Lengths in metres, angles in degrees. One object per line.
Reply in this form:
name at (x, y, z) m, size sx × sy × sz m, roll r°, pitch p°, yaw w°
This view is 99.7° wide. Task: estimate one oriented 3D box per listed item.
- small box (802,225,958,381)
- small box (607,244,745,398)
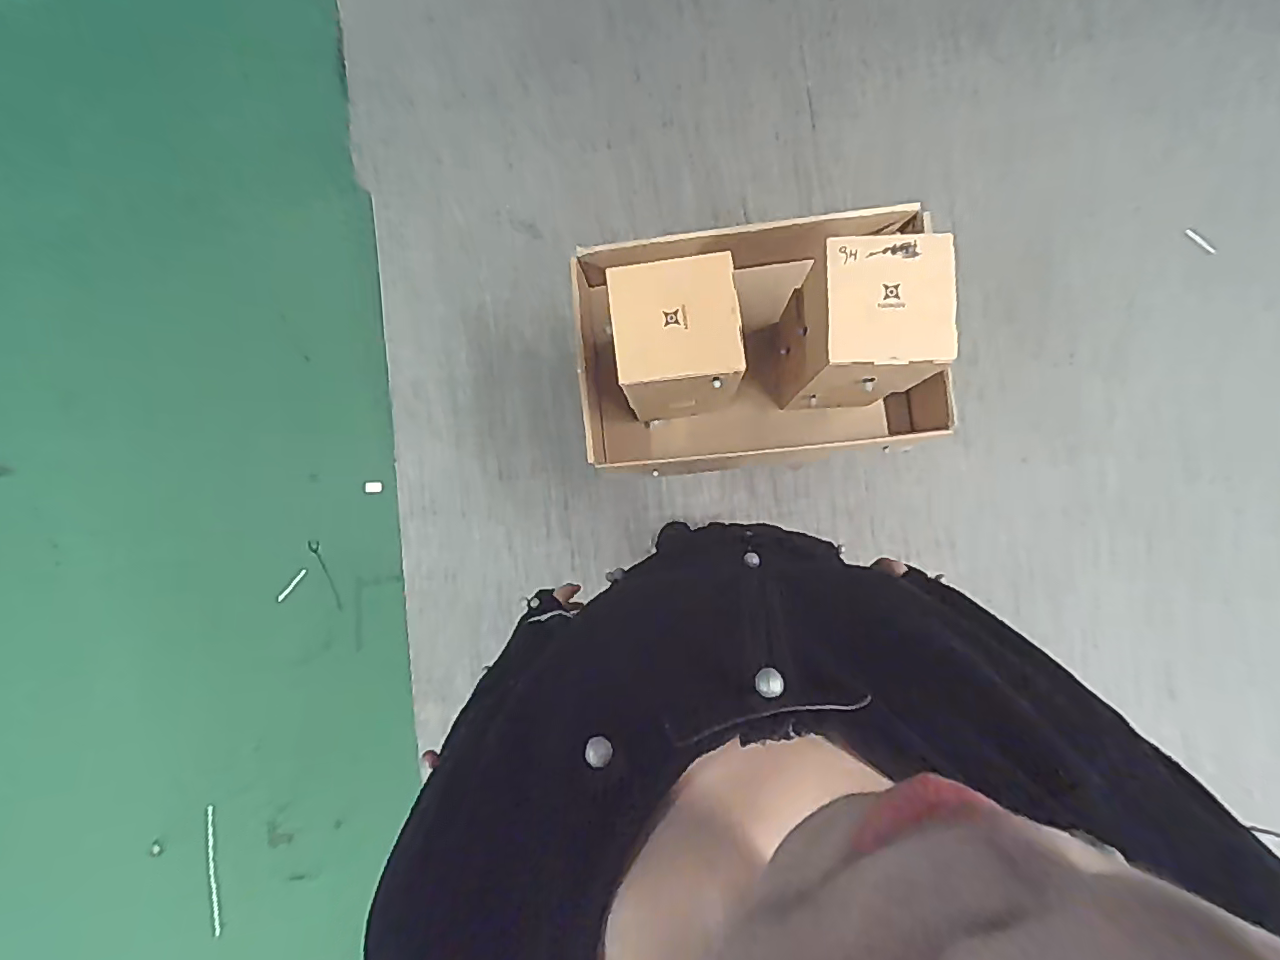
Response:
small box at (0.337, -0.244, 0.786) m, size 0.168 × 0.176 × 0.179 m, roll 1°, pitch 88°, yaw 5°
small box at (0.055, -0.226, 0.813) m, size 0.179 × 0.176 × 0.168 m, roll -7°, pitch 87°, yaw 4°
